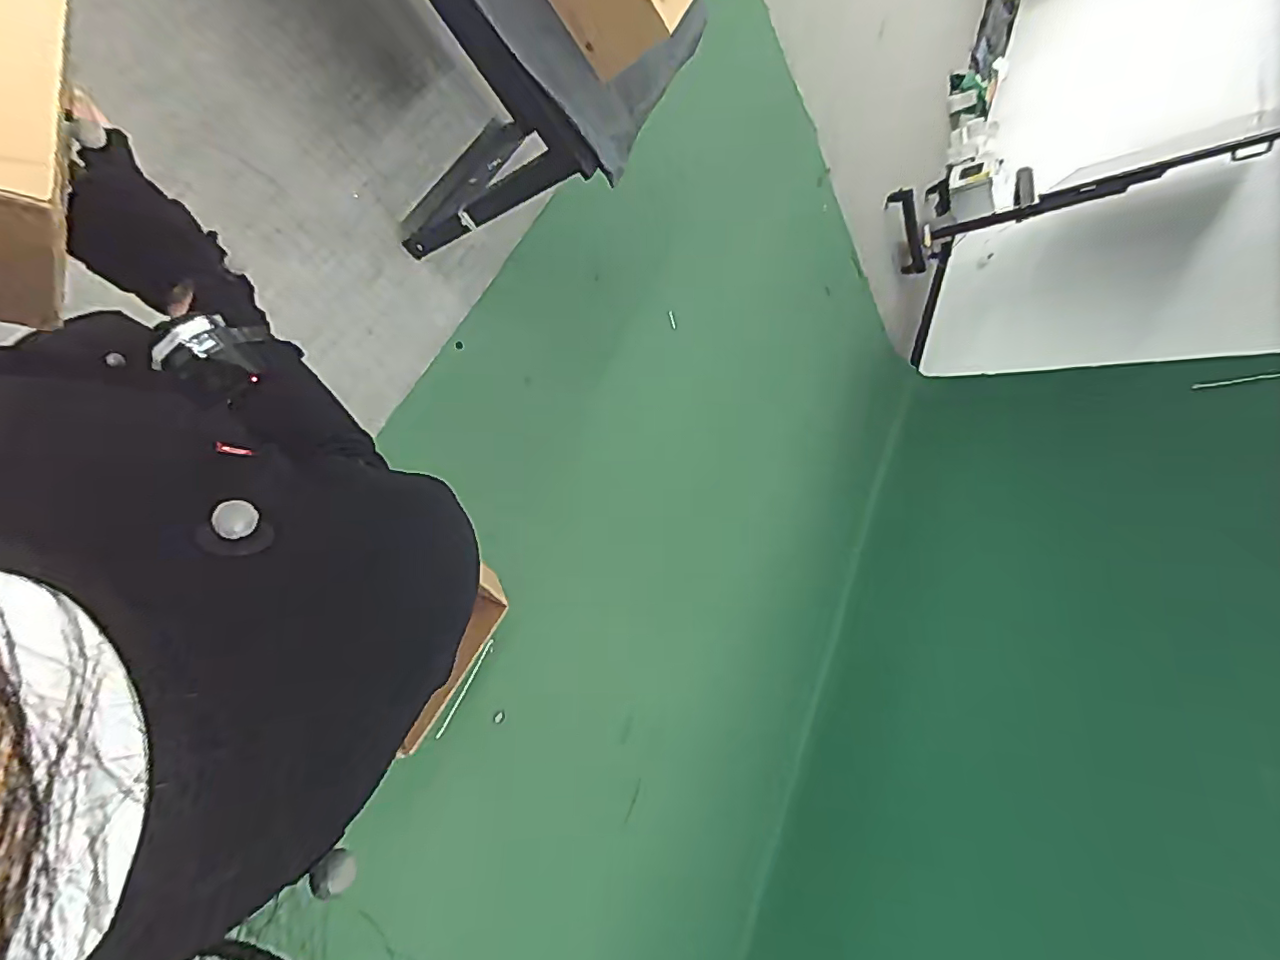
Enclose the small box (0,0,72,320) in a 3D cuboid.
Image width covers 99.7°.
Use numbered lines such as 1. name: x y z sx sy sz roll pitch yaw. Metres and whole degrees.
1. small box: -0.431 -0.215 0.292 0.168 0.176 0.179 2 78 -47
